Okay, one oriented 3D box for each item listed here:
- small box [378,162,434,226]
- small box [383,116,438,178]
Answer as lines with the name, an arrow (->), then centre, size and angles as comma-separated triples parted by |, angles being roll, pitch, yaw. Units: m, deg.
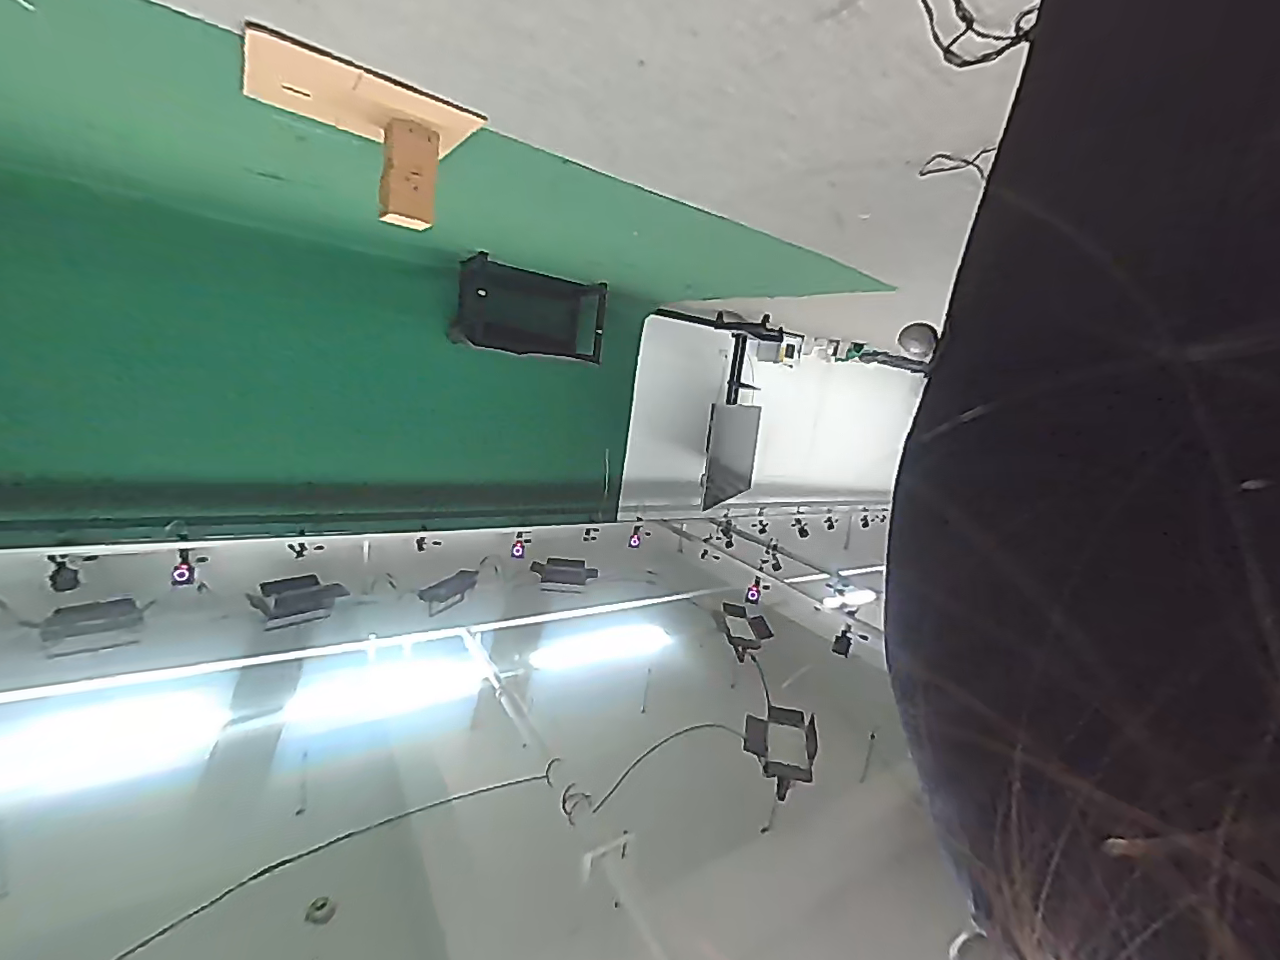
small box -> -0.927, -1.131, 2.143 | 0.168, 0.176, 0.179 | -1, -166, -39
small box -> -0.893, -1.285, 2.105 | 0.168, 0.176, 0.179 | -1, -165, -38
